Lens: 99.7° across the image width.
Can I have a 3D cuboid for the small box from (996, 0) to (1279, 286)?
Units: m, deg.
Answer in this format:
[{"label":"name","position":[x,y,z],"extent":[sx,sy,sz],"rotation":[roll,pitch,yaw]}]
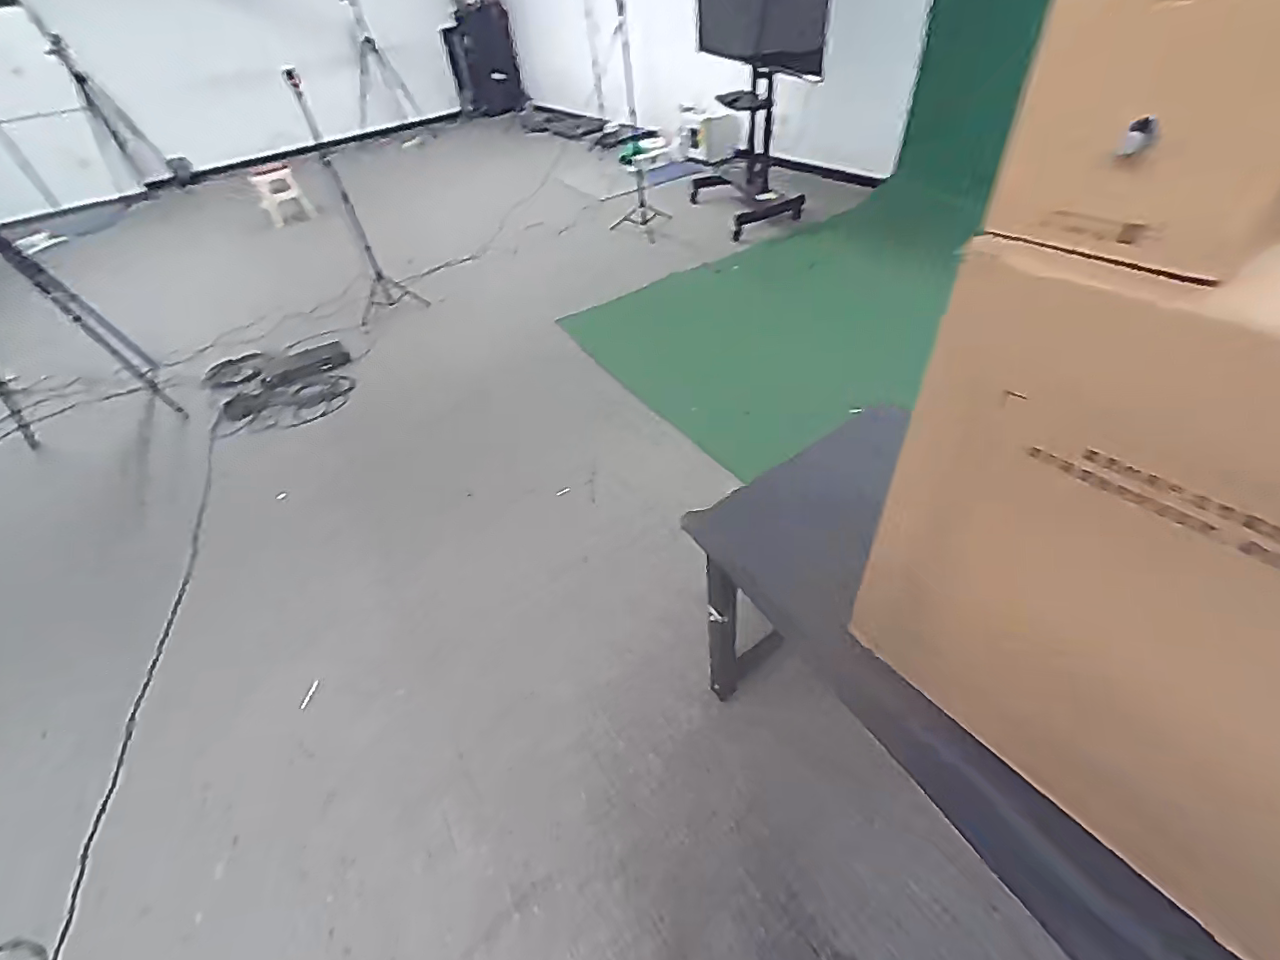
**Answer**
[{"label":"small box","position":[0.402,-0.264,0.398],"extent":[0.179,0.176,0.168],"rotation":[-29,47,-21]}]
